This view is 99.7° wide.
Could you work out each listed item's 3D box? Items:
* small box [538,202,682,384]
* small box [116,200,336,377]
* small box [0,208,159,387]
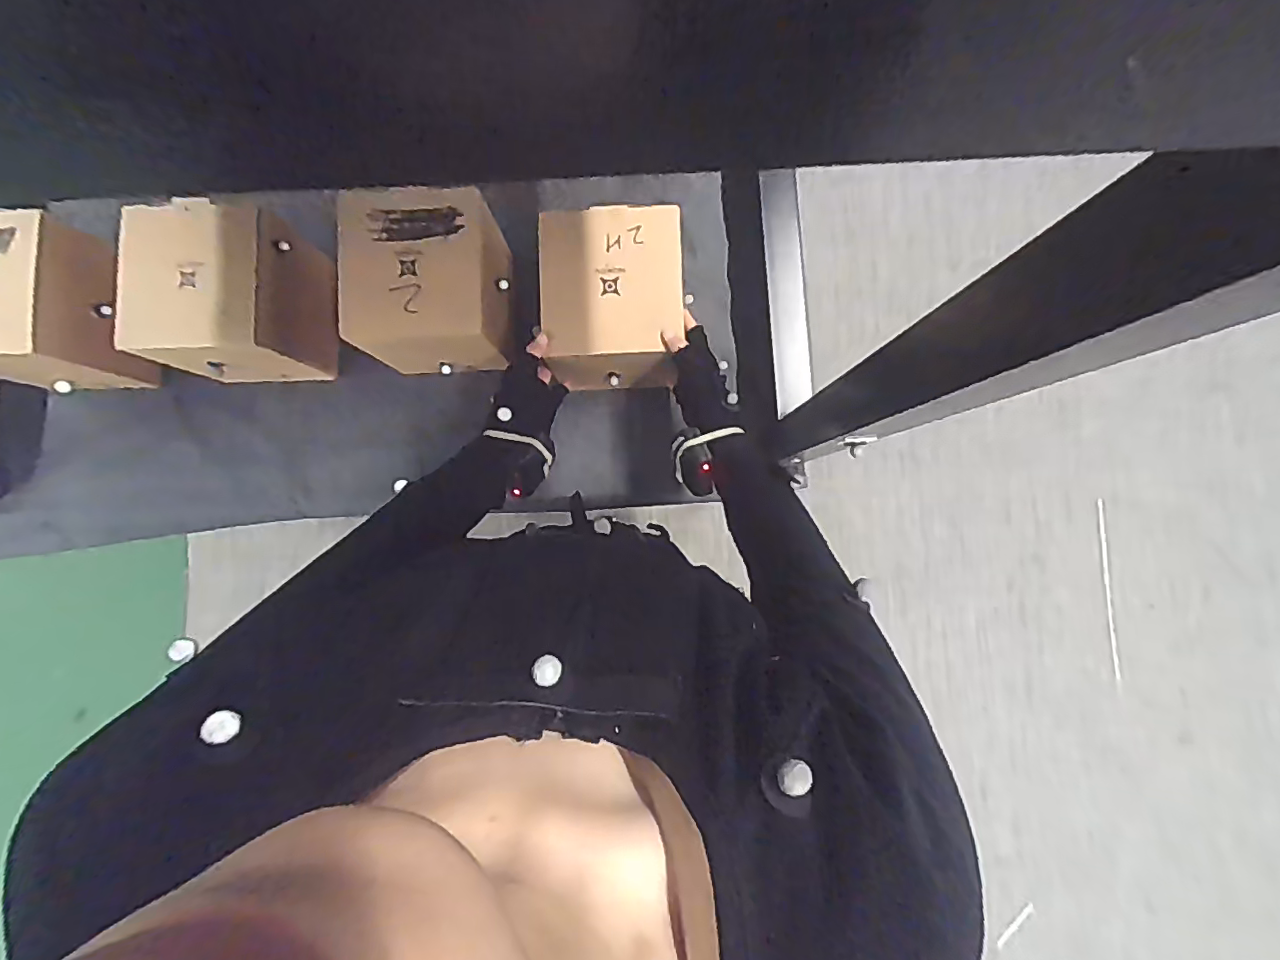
[{"bbox_3d":[-0.033,-0.227,0.702,0.168,0.176,0.179,-3,85,1],"label":"small box"},{"bbox_3d":[-0.525,-0.236,0.710,0.168,0.176,0.179,-1,86,0],"label":"small box"},{"bbox_3d":[-0.778,-0.227,0.708,0.168,0.176,0.179,-1,87,0],"label":"small box"}]
